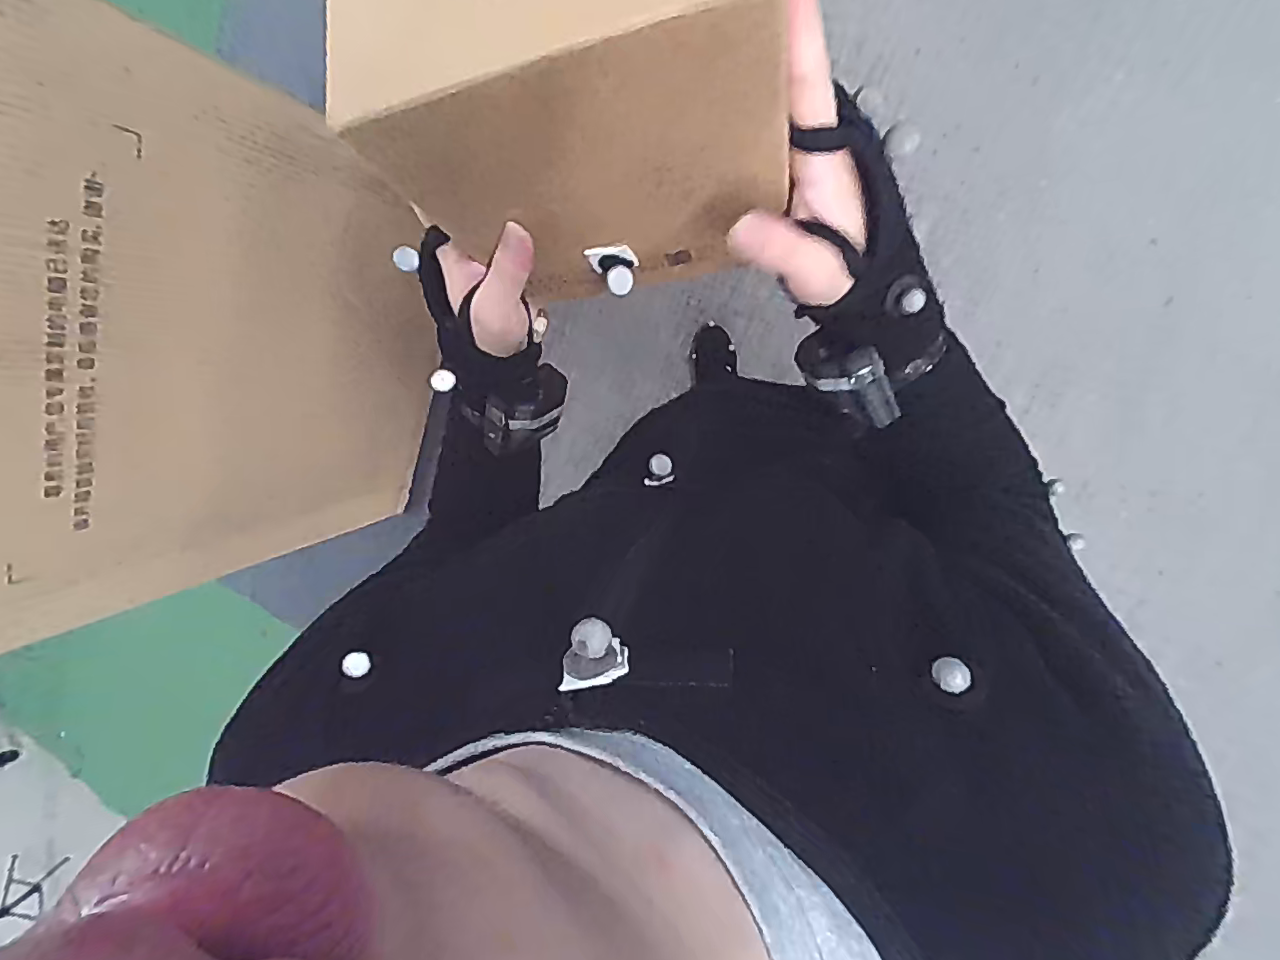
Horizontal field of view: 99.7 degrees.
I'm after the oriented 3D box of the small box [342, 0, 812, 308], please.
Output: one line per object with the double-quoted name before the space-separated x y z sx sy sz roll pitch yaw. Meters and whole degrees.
"small box" -0.015 -0.211 0.266 0.168 0.176 0.179 -7 84 14
